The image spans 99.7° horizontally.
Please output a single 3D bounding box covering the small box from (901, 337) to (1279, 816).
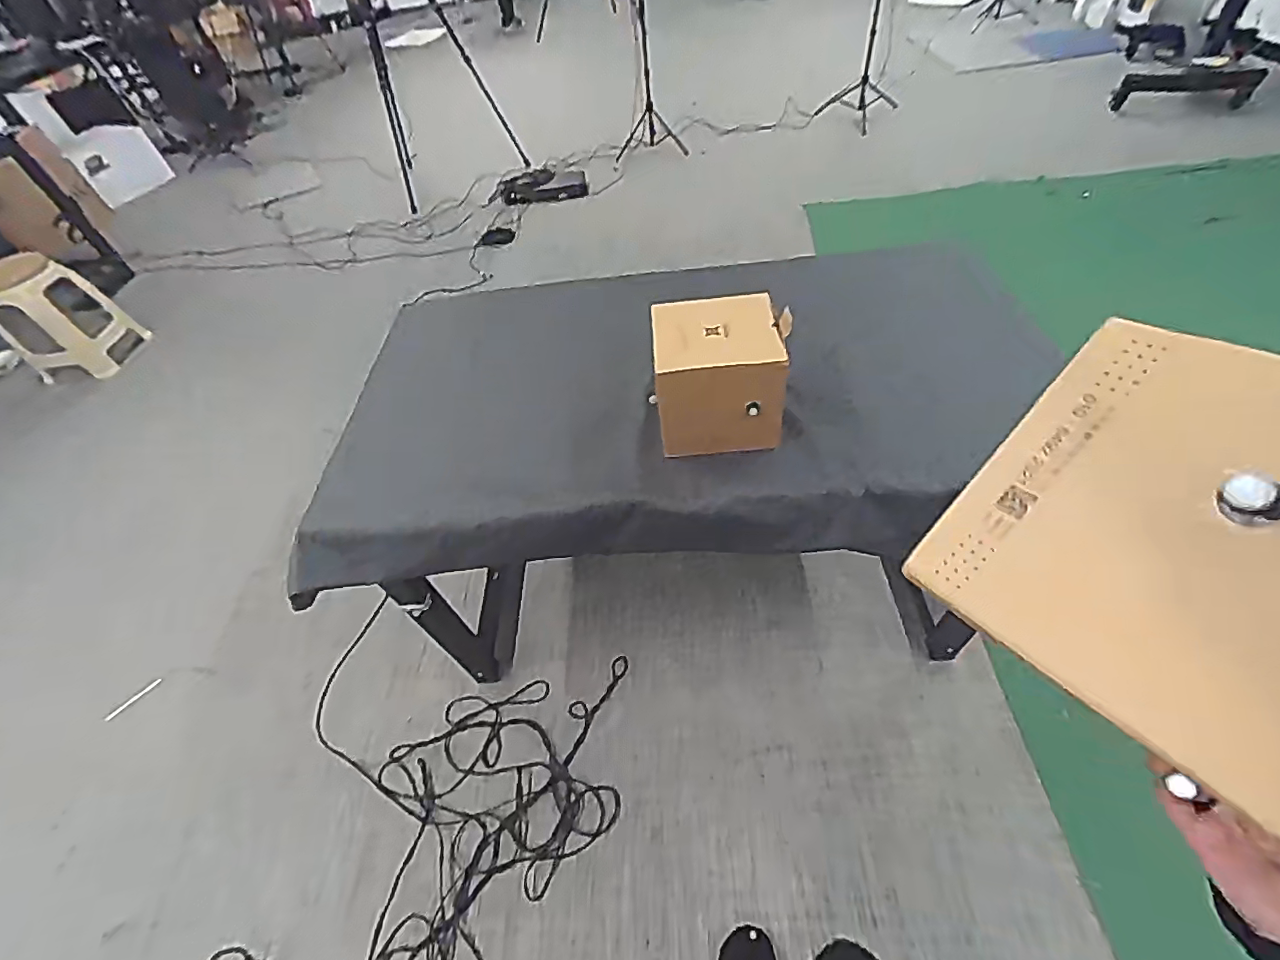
[{"bbox_3d":[0.280,0.043,0.291,0.168,0.179,0.176,-55,41,9],"label":"small box"}]

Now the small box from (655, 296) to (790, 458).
[{"bbox_3d":[0.117,-0.151,0.815,0.179,0.176,0.168,-6,49,5],"label":"small box"}]
